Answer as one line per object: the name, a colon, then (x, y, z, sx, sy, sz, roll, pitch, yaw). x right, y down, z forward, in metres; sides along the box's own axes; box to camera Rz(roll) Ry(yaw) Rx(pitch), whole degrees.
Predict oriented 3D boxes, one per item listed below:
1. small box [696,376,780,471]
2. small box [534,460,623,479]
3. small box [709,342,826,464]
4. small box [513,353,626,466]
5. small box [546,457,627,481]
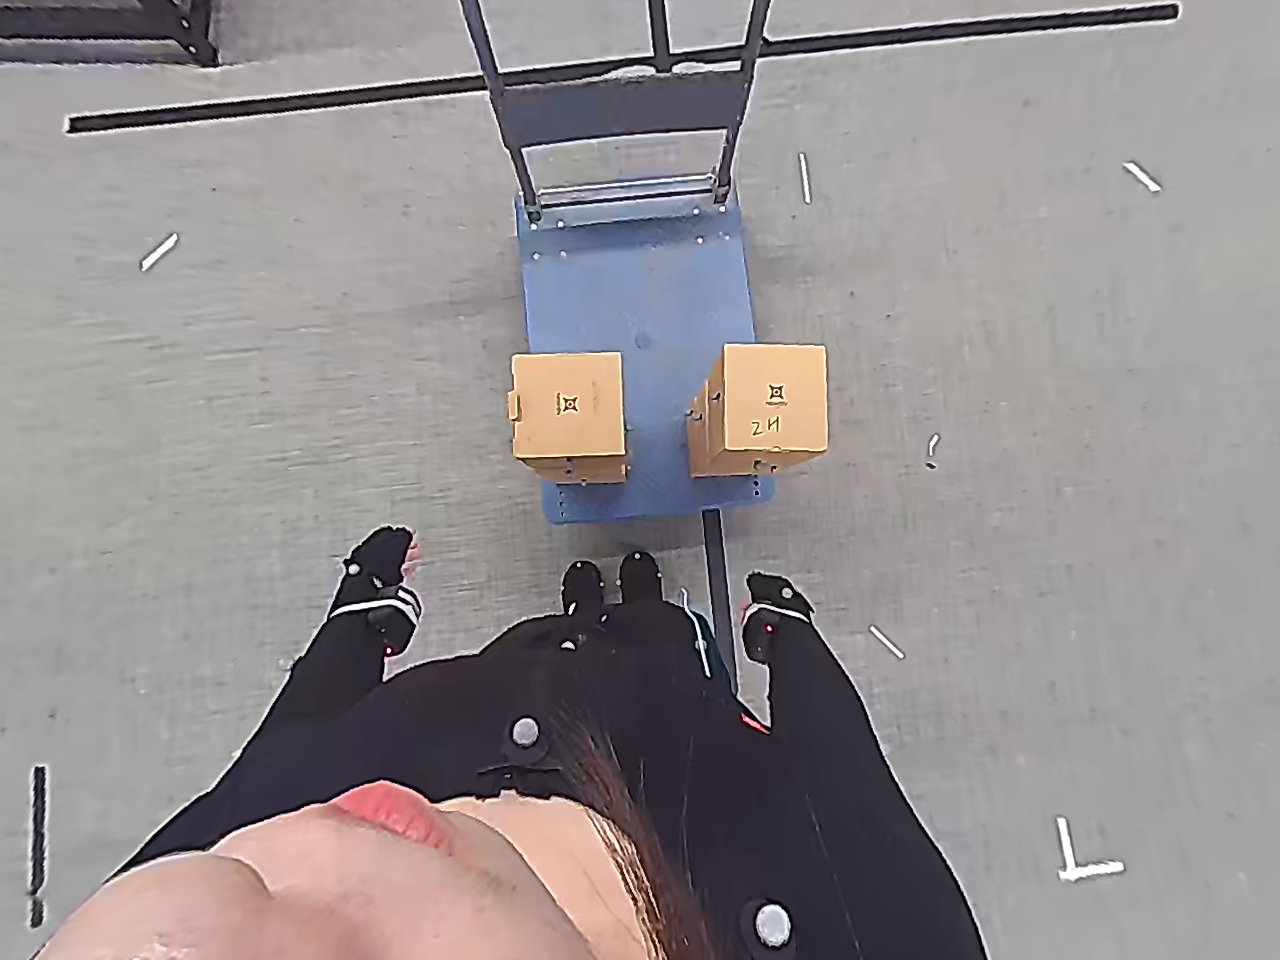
small box: (0.208, -0.109, 1.102, 0.179, 0.176, 0.168, 0, 85, -2)
small box: (-0.122, -0.101, 1.094, 0.168, 0.176, 0.179, -4, 84, -1)
small box: (0.212, -0.126, 0.938, 0.168, 0.176, 0.179, 1, 85, -1)
small box: (-0.113, -0.113, 0.931, 0.179, 0.176, 0.168, -1, 87, -2)
small box: (-0.120, -0.086, 1.257, 0.179, 0.176, 0.168, -2, 85, 0)
